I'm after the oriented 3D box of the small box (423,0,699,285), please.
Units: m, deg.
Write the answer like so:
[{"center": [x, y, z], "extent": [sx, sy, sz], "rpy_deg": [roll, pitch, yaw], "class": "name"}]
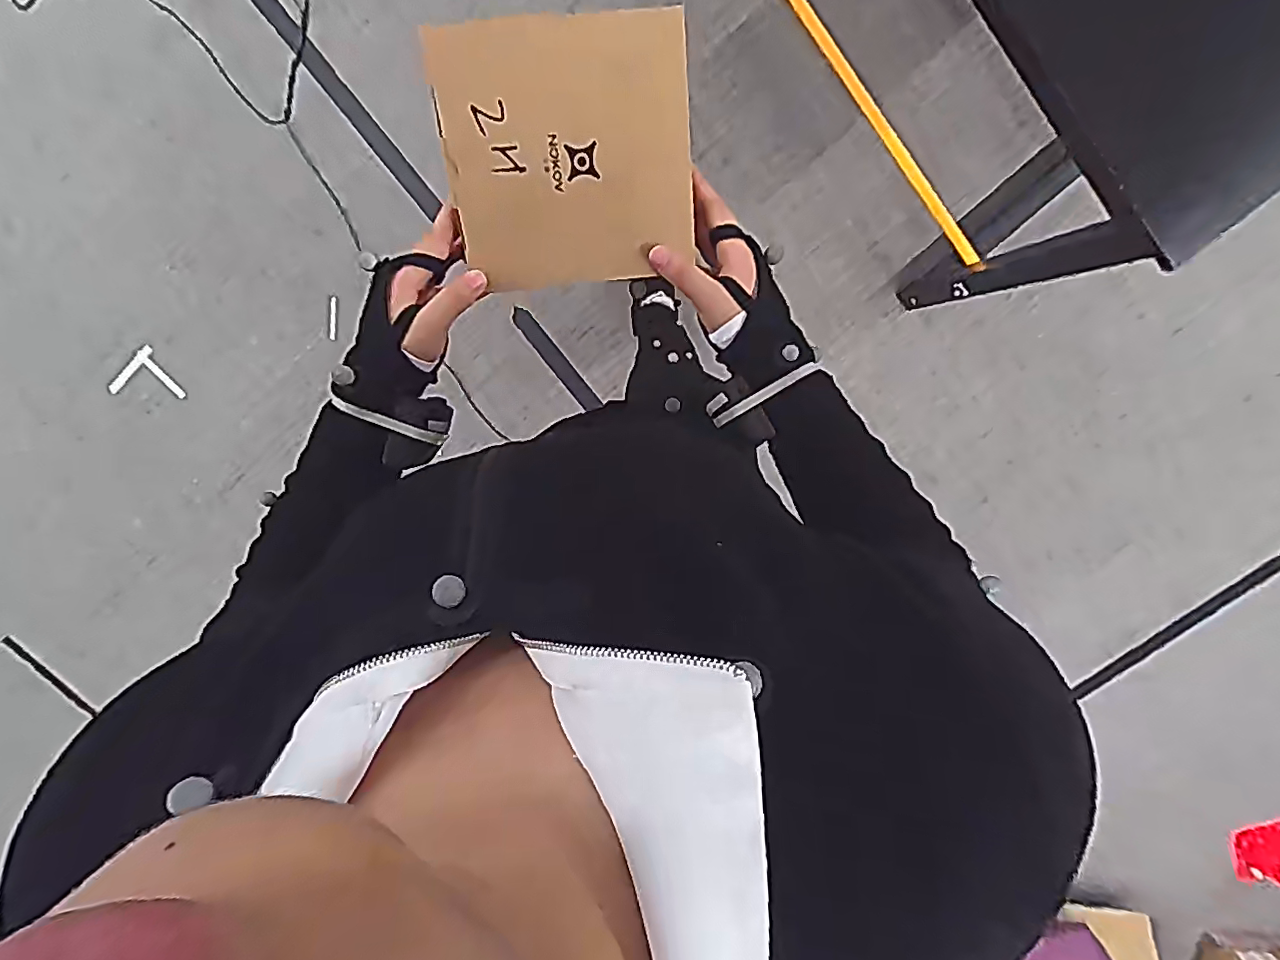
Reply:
[{"center": [-0.053, -0.260, 0.450], "extent": [0.179, 0.176, 0.168], "rpy_deg": [-6, 113, -1], "class": "small box"}]
